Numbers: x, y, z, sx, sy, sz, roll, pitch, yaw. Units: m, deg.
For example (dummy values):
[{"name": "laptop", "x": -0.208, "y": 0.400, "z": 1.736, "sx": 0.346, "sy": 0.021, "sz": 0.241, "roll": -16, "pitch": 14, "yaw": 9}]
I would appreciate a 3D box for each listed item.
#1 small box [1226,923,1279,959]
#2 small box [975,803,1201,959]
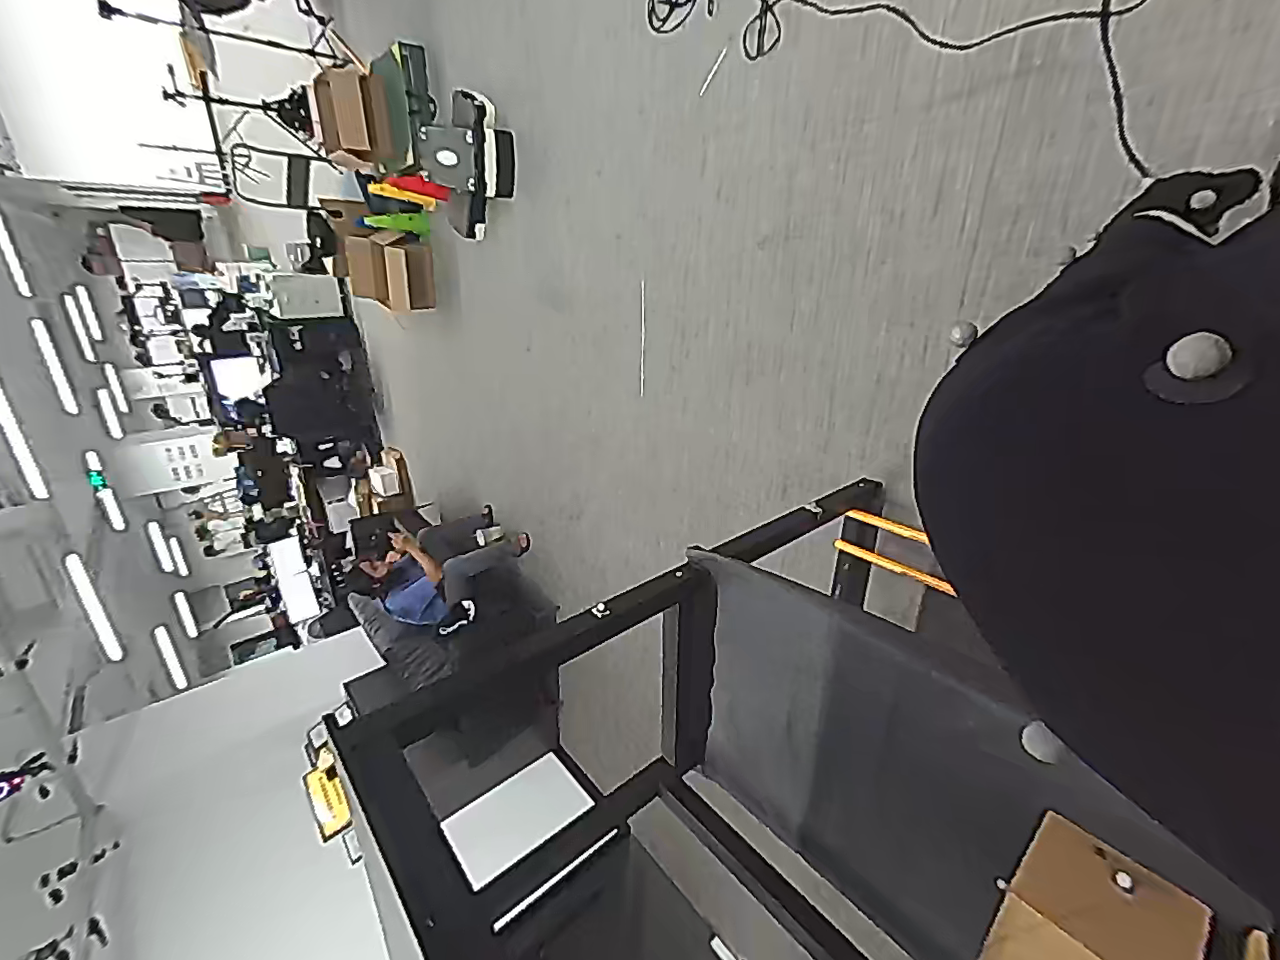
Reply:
[{"name": "small box", "x": 0.688, "y": 0.610, "z": 0.538, "sx": 0.168, "sy": 0.176, "sz": 0.179, "roll": 24, "pitch": 123, "yaw": 45}, {"name": "small box", "x": 0.560, "y": 0.565, "z": 0.681, "sx": 0.168, "sy": 0.176, "sz": 0.179, "roll": 24, "pitch": 122, "yaw": 44}]
